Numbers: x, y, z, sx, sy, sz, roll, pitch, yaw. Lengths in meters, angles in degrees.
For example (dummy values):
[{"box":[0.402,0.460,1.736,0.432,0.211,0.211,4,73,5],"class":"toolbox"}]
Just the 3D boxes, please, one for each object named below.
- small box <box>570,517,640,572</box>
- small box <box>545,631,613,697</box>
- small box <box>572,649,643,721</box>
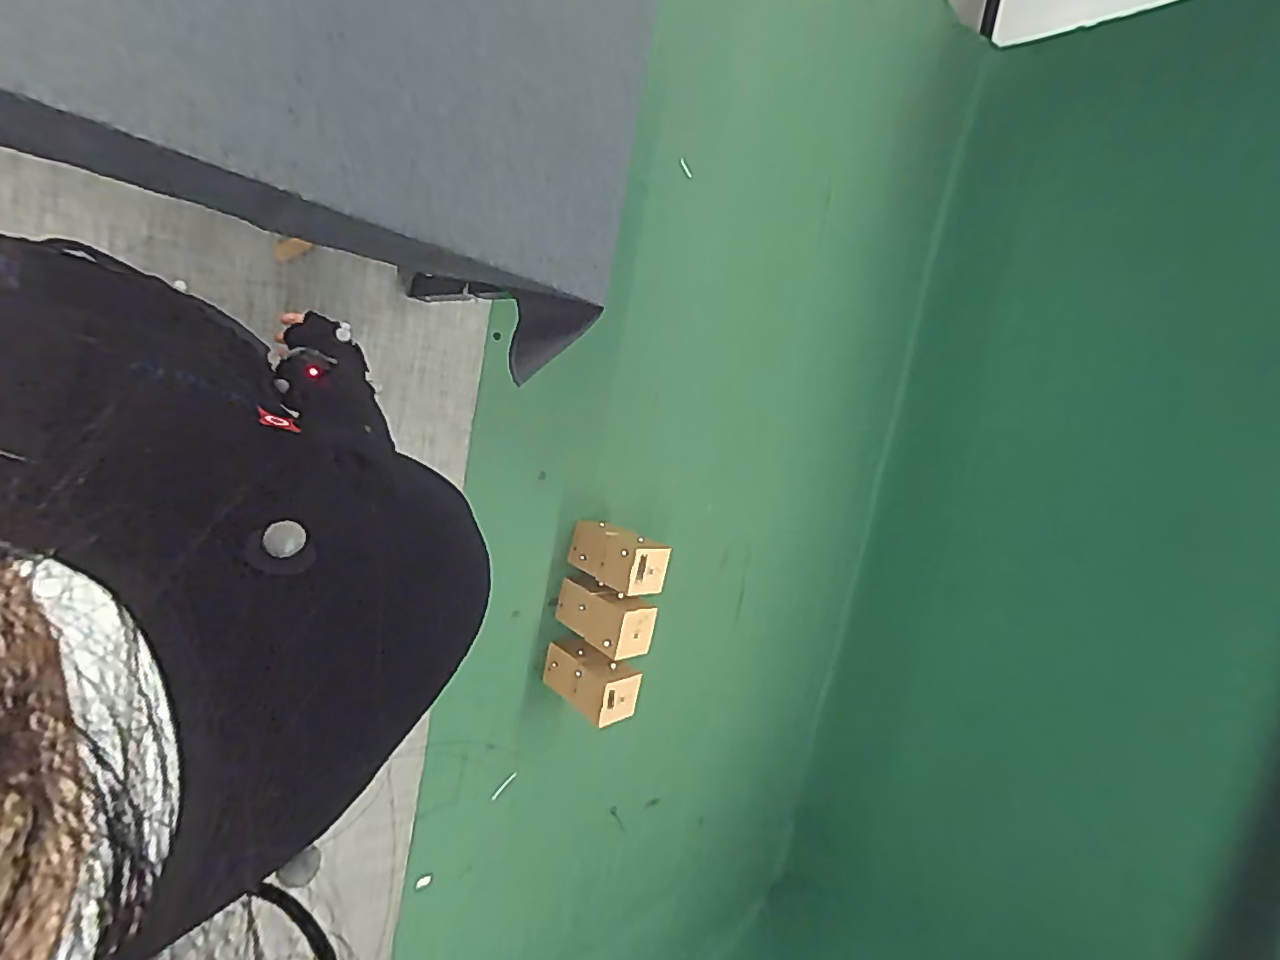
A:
[{"box":[-0.134,0.238,2.008,0.179,0.176,0.168,10,95,-46],"class":"small box"},{"box":[-0.232,0.691,2.055,0.179,0.176,0.168,4,100,-45],"class":"small box"},{"box":[-0.121,0.728,1.940,0.179,0.176,0.168,3,101,-45],"class":"small box"}]
